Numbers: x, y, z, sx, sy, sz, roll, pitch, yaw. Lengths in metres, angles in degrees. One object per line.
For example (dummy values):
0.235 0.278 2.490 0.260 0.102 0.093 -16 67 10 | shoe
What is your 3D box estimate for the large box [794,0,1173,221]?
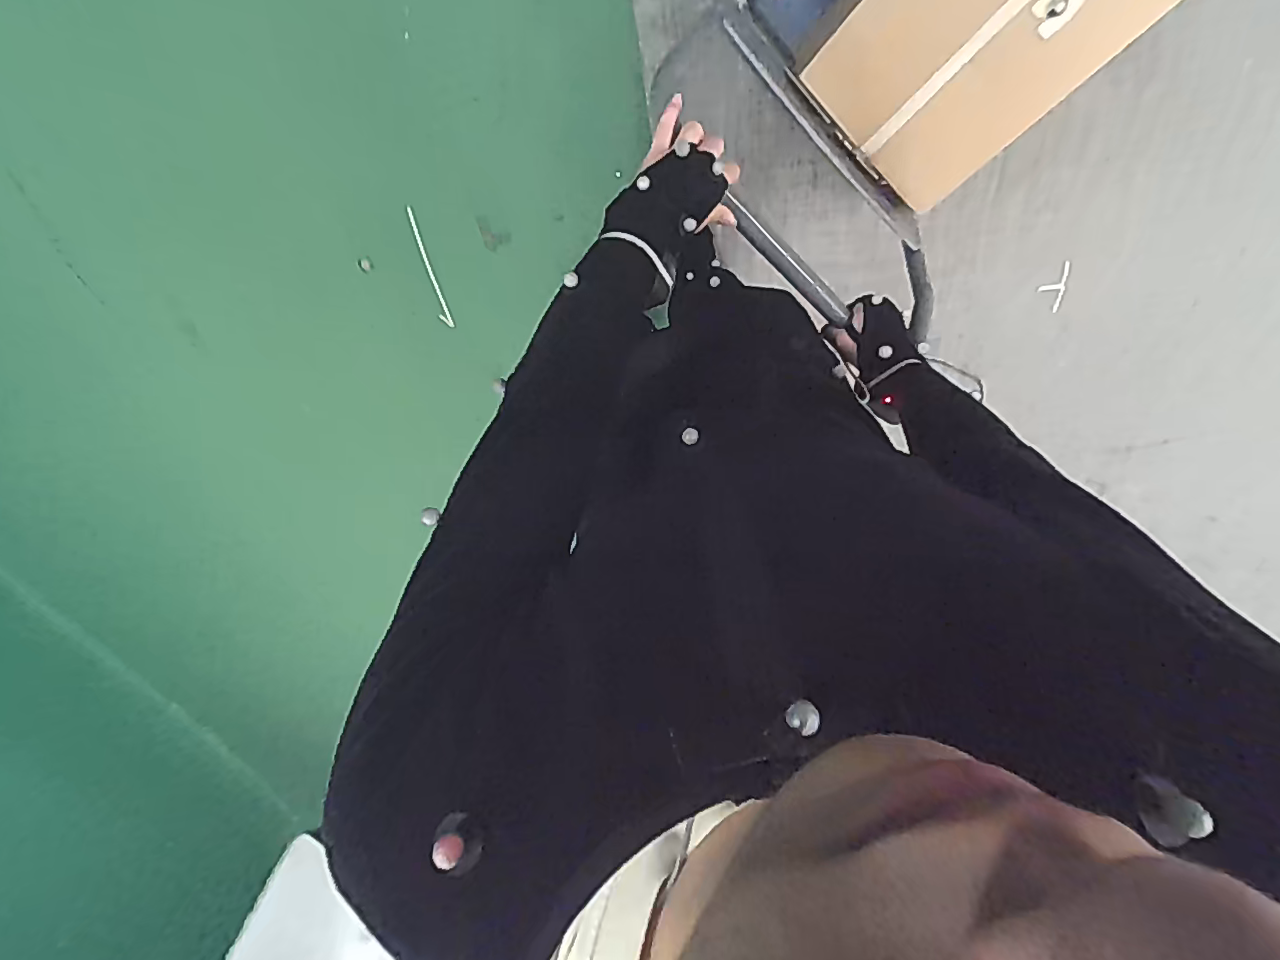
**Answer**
0.507 -0.732 0.888 0.320 0.320 0.408 36 131 -20 | large box
